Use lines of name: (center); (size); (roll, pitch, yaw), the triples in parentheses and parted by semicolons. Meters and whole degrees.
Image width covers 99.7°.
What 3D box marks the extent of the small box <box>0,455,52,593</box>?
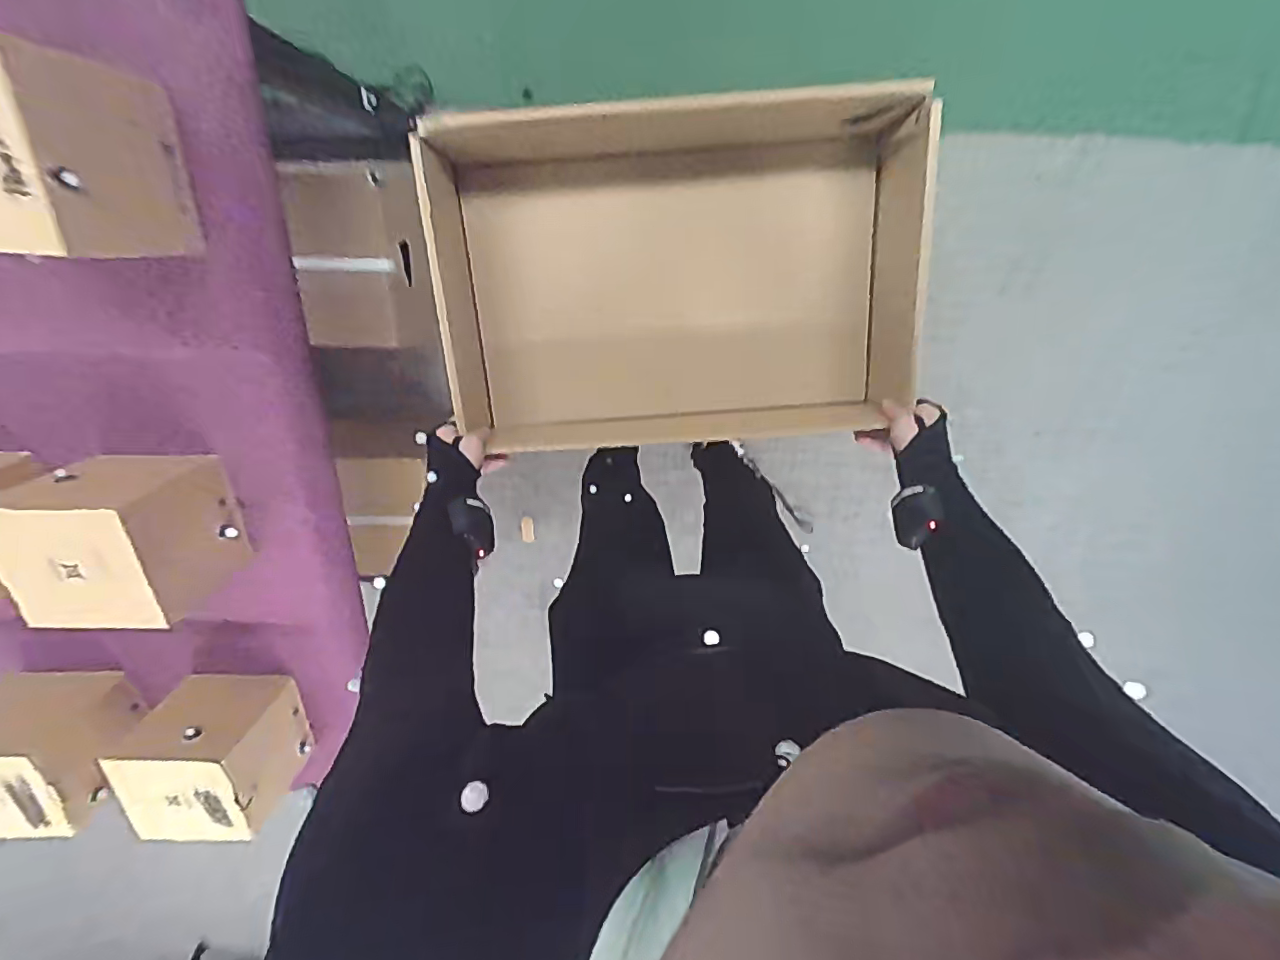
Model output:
small box: (-0.911, 0.068, 0.696); (0.179, 0.176, 0.168); (1, 112, -1)

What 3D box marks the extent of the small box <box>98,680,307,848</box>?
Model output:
small box: (-0.651, 0.431, 0.837); (0.179, 0.176, 0.168); (1, 112, 2)

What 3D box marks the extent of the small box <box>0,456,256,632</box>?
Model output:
small box: (-0.651, 0.074, 0.695); (0.179, 0.176, 0.168); (0, 113, 1)

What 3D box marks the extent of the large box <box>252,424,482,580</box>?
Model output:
large box: (-0.667, 0.046, 1.397); (0.408, 0.320, 0.320); (0, 111, 2)

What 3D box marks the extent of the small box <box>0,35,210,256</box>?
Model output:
small box: (-0.587, -0.316, 0.533); (0.179, 0.176, 0.168); (5, 114, 1)
